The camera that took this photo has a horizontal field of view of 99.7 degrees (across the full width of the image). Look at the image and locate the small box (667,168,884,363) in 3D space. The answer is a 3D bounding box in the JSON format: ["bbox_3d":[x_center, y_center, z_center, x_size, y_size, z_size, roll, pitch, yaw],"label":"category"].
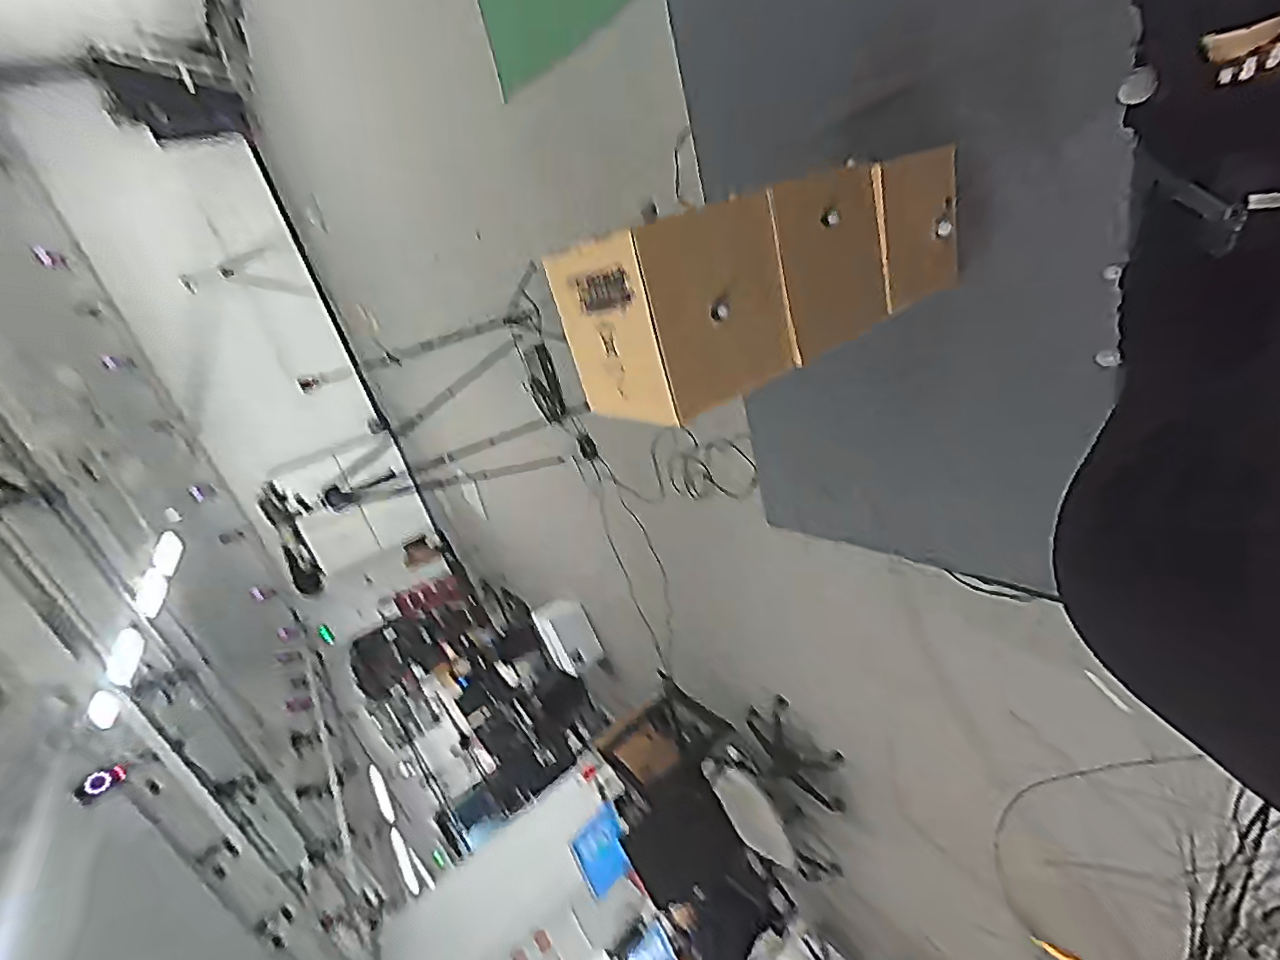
[{"bbox_3d":[0.163,-0.249,0.640,0.168,0.176,0.179,14,127,55],"label":"small box"}]

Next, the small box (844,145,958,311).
[{"bbox_3d":[0.289,-0.321,0.715,0.179,0.176,0.168,16,128,52],"label":"small box"}]
